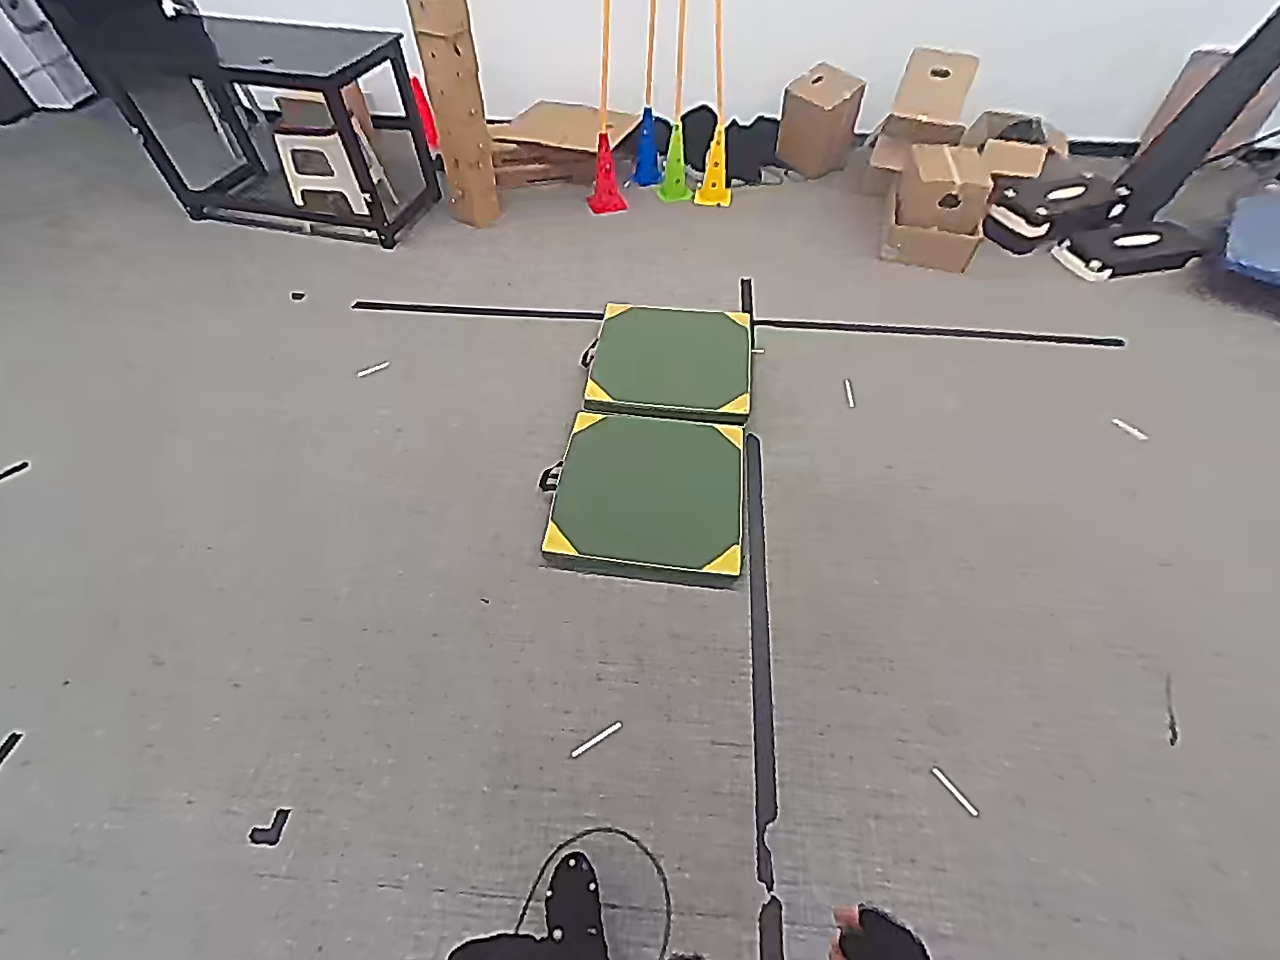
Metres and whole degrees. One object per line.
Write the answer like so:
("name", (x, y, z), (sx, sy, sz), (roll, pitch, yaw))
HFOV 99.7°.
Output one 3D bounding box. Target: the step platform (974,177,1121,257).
("step platform", (2.114, -1.373, 2.806), (0.684, 0.204, 0.286), (-19, 56, -14))
